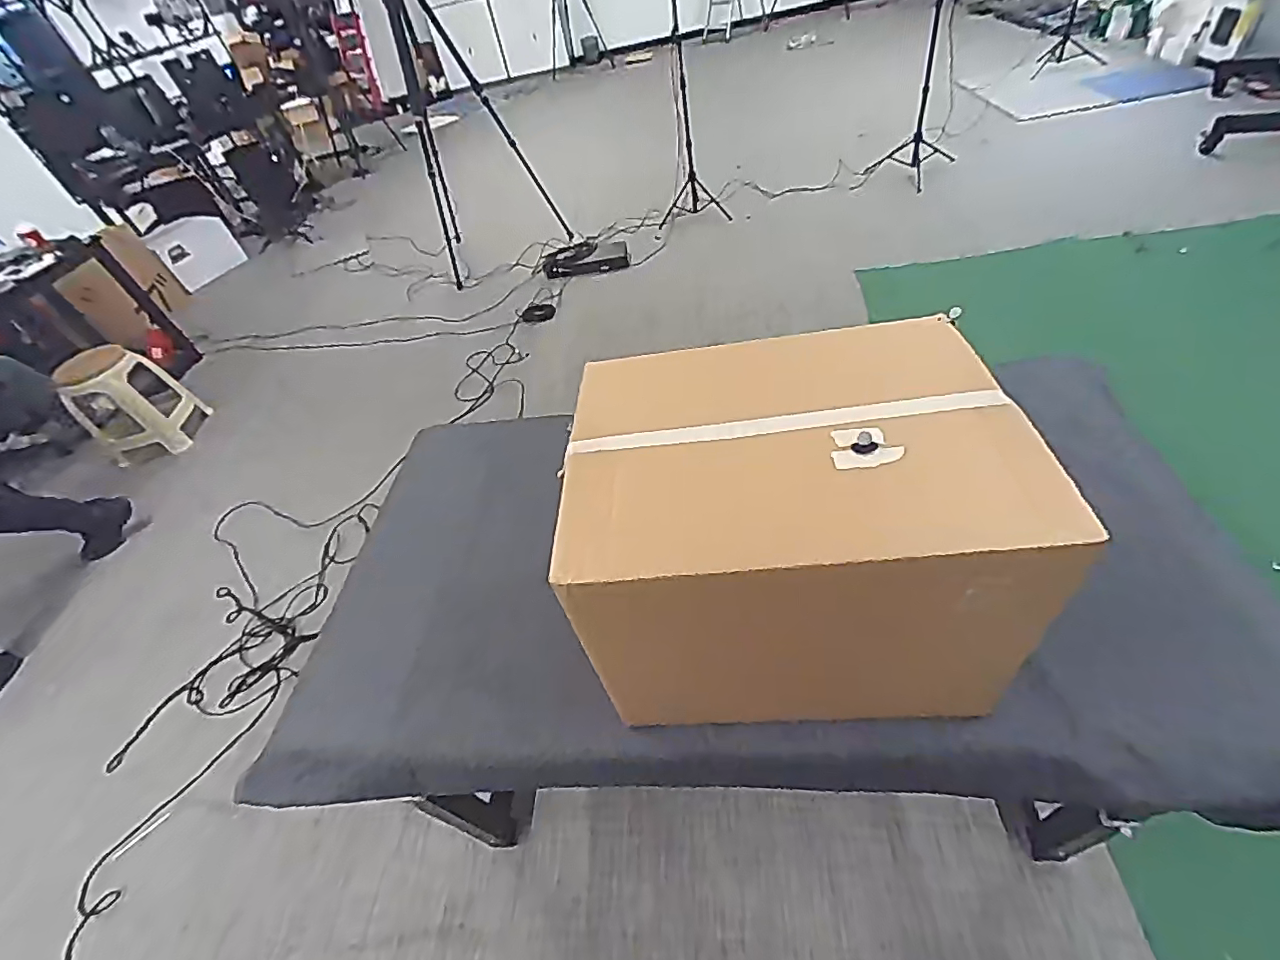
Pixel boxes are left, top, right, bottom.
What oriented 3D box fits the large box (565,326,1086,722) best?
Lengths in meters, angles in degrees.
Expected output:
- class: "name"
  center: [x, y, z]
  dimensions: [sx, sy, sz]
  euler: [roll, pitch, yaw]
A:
- class: "large box"
  center: [0.156, 0.059, 0.623]
  dimensions: [0.408, 0.320, 0.320]
  euler: [-5, 46, 7]
